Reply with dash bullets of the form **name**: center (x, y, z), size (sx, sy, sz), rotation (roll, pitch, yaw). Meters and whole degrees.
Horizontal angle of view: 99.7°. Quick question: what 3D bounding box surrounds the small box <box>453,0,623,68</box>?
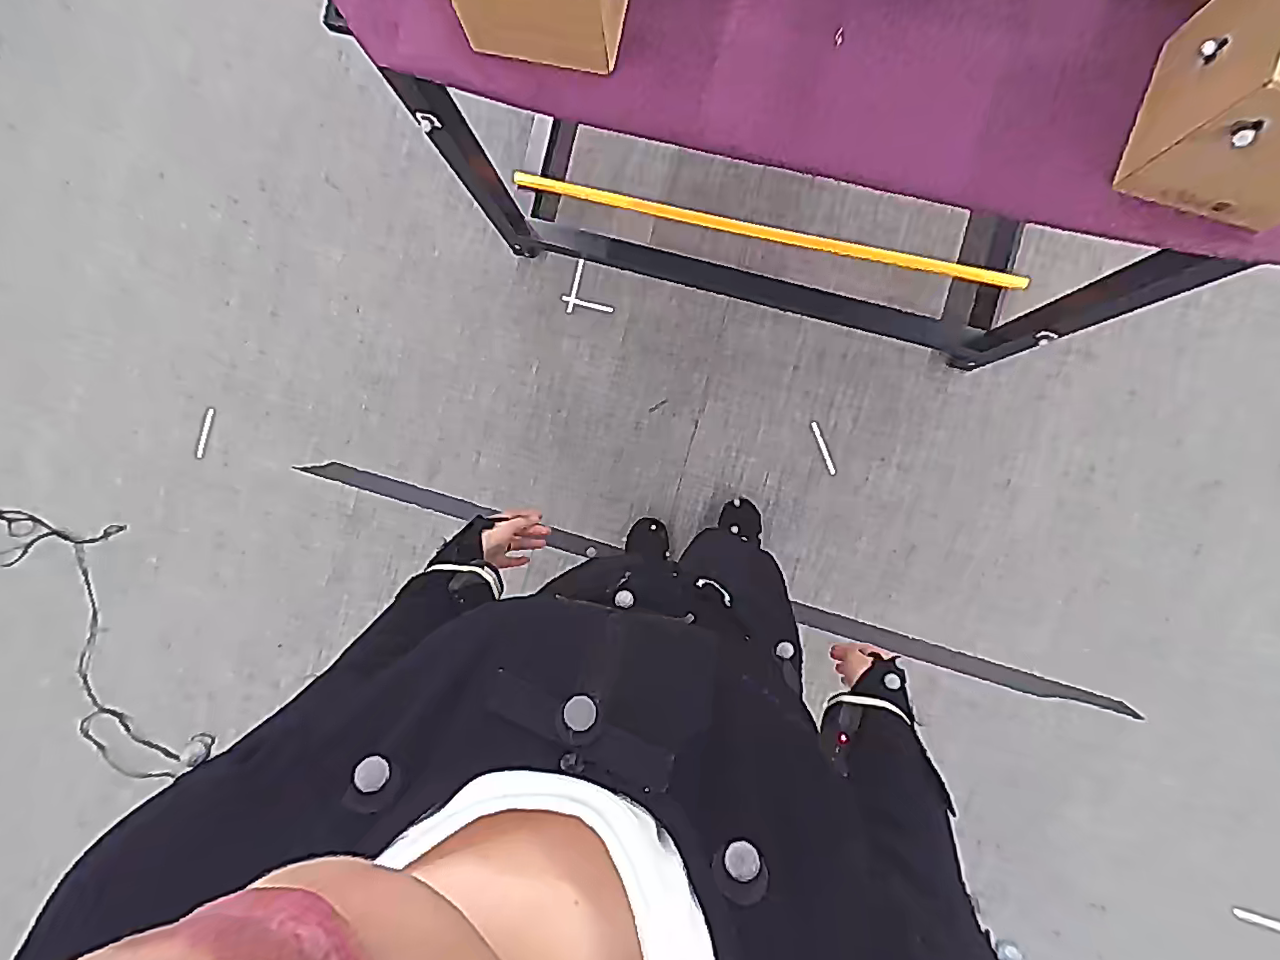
- **small box**: center (-0.111, -0.583, 0.571), size (0.179, 0.176, 0.168), rotation (12, 90, 2)
